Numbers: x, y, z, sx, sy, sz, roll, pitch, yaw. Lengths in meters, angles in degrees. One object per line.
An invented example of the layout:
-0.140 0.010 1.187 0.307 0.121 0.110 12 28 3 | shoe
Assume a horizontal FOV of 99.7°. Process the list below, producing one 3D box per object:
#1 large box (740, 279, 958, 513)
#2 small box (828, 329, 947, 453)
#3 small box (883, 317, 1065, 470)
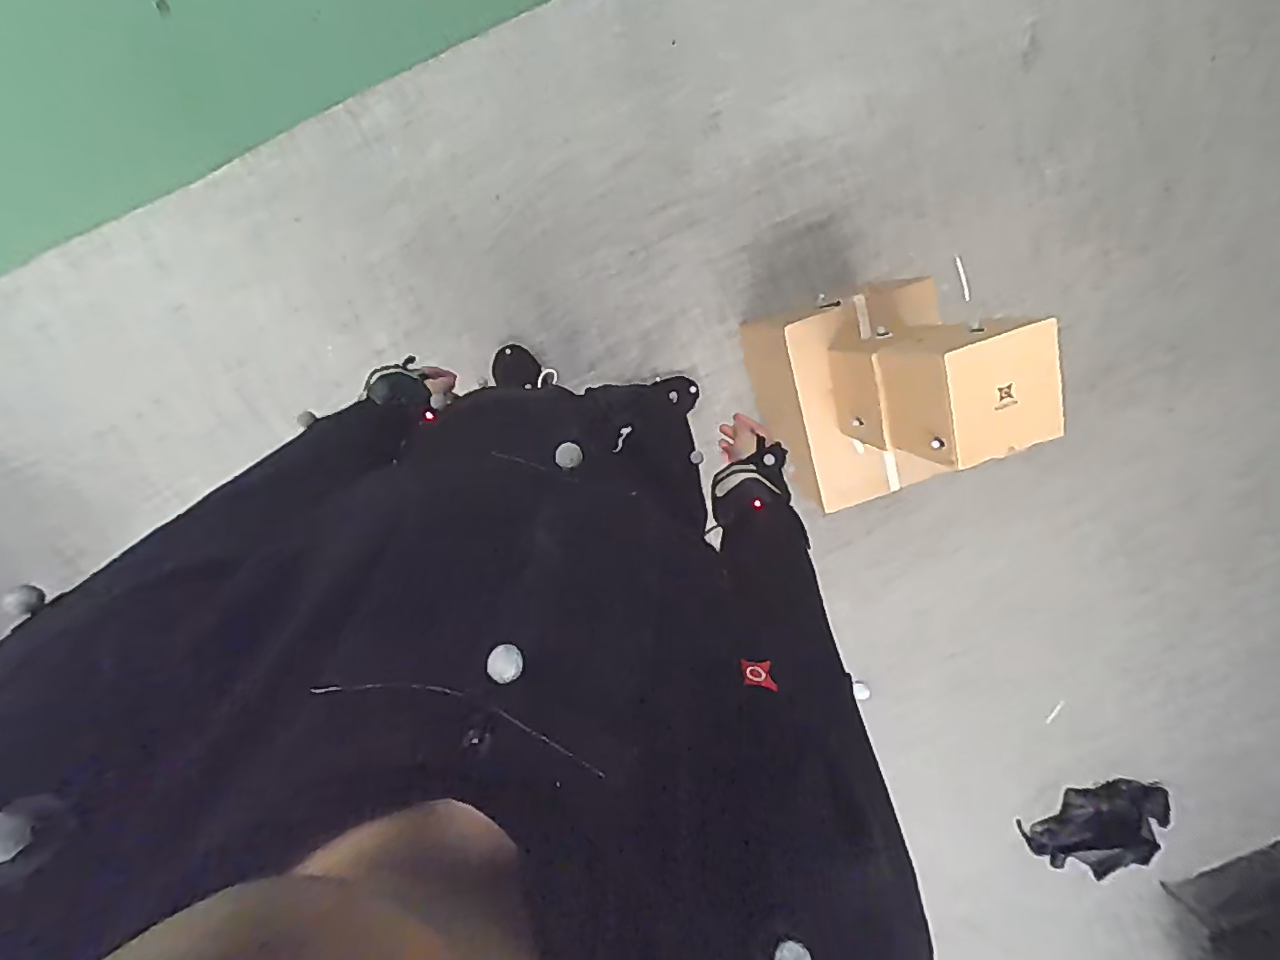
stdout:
0.459 -0.199 1.225 0.320 0.320 0.408 -19 108 0 | large box
0.466 -0.169 0.981 0.168 0.176 0.179 -18 106 -2 | small box
0.496 -0.136 0.824 0.168 0.176 0.179 -19 107 -2 | small box
